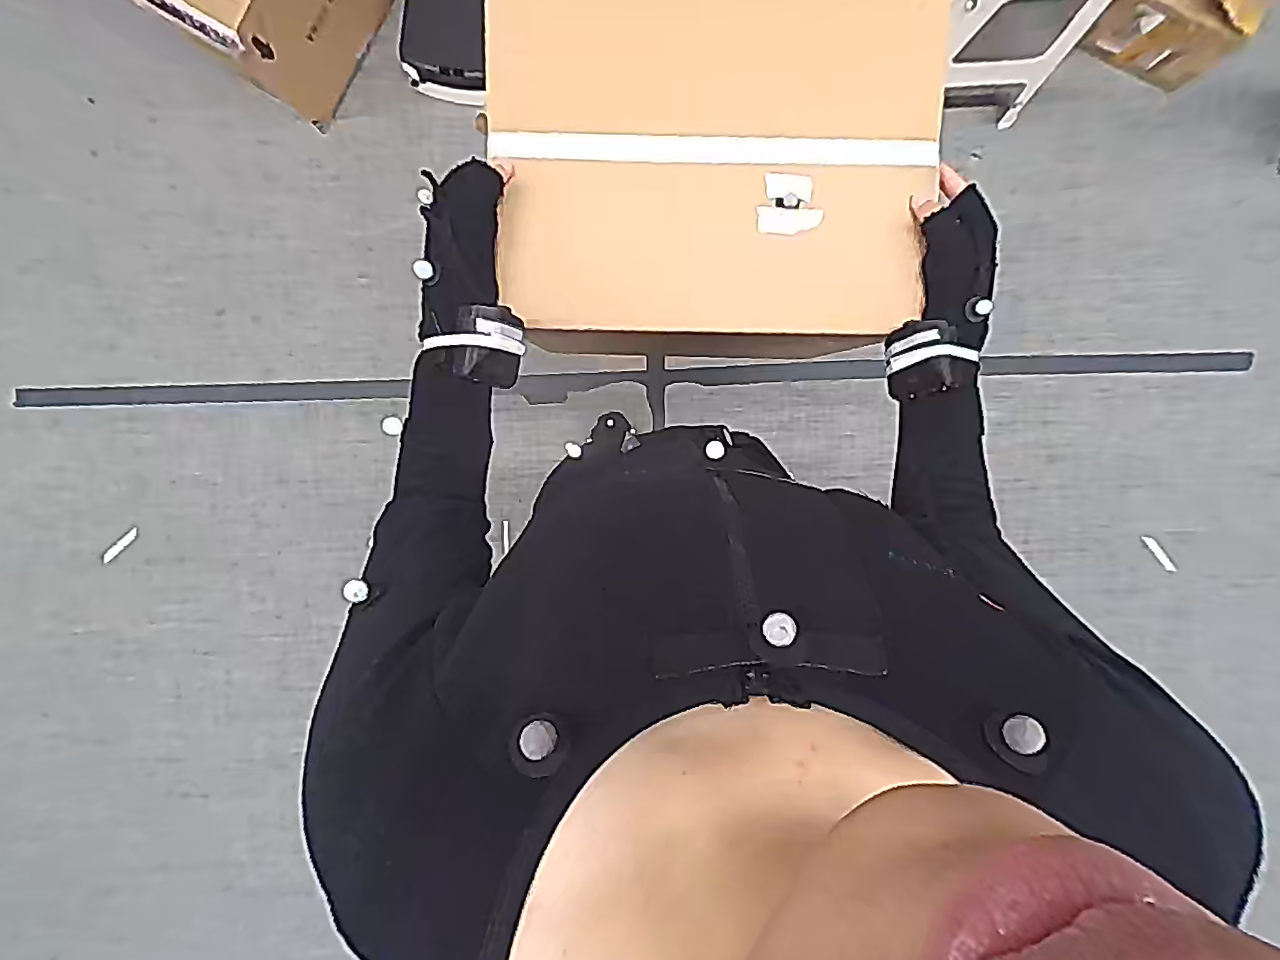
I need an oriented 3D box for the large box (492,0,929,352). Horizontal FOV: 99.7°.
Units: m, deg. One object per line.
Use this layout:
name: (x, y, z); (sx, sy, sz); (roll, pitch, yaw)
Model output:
large box: (0.060, -0.327, 0.653); (0.408, 0.320, 0.320); (0, 99, -2)
